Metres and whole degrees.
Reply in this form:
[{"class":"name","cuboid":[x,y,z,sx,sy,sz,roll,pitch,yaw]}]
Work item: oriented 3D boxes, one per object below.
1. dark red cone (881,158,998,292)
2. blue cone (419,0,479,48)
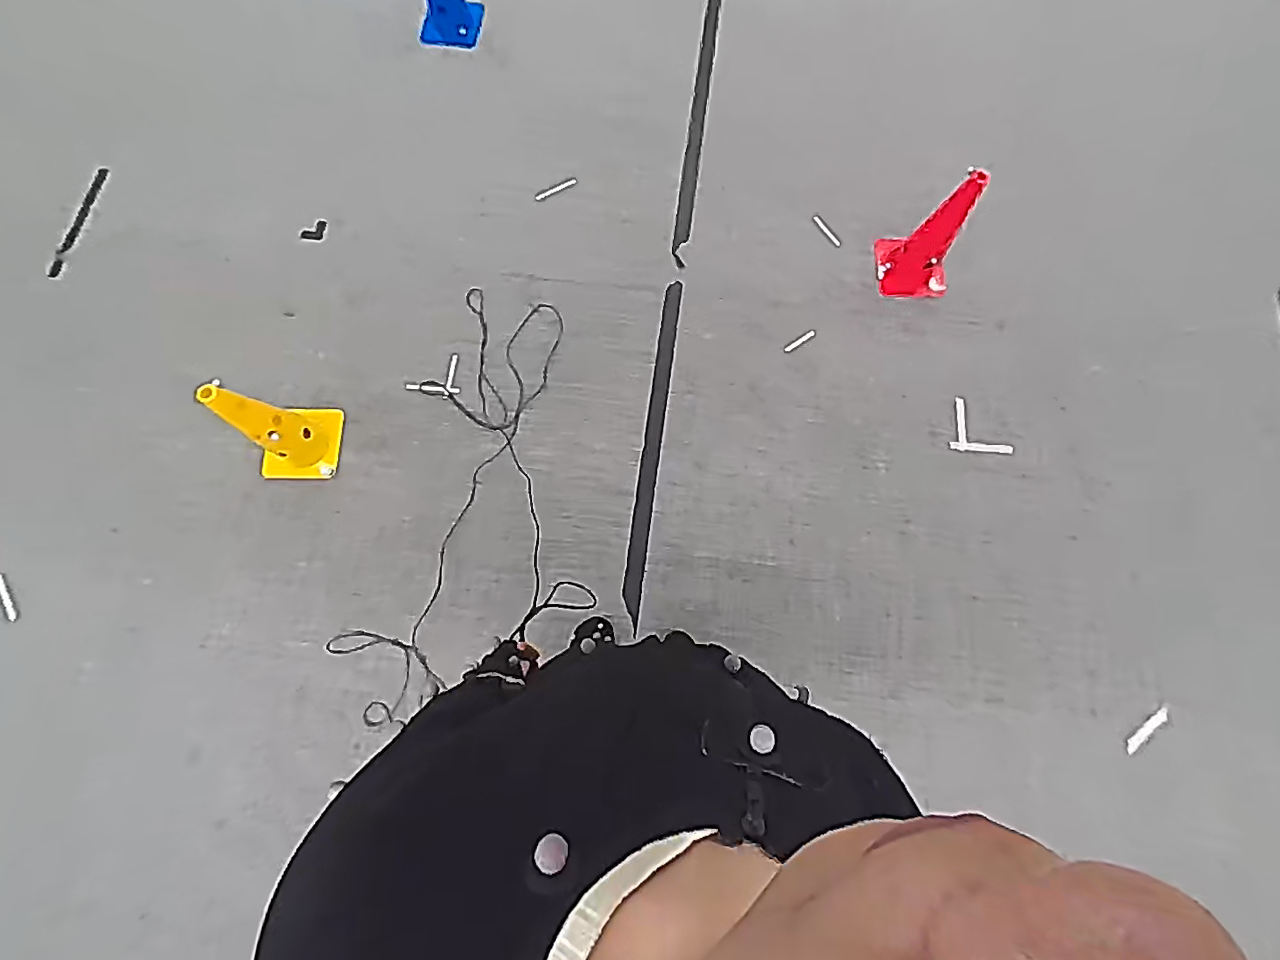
[{"class":"dark red cone","cuboid":[0.819,-0.691,1.447,0.201,0.394,0.202,-1,75,1]},{"class":"blue cone","cuboid":[-0.662,-1.607,1.707,0.192,0.380,0.193,7,75,3]}]
